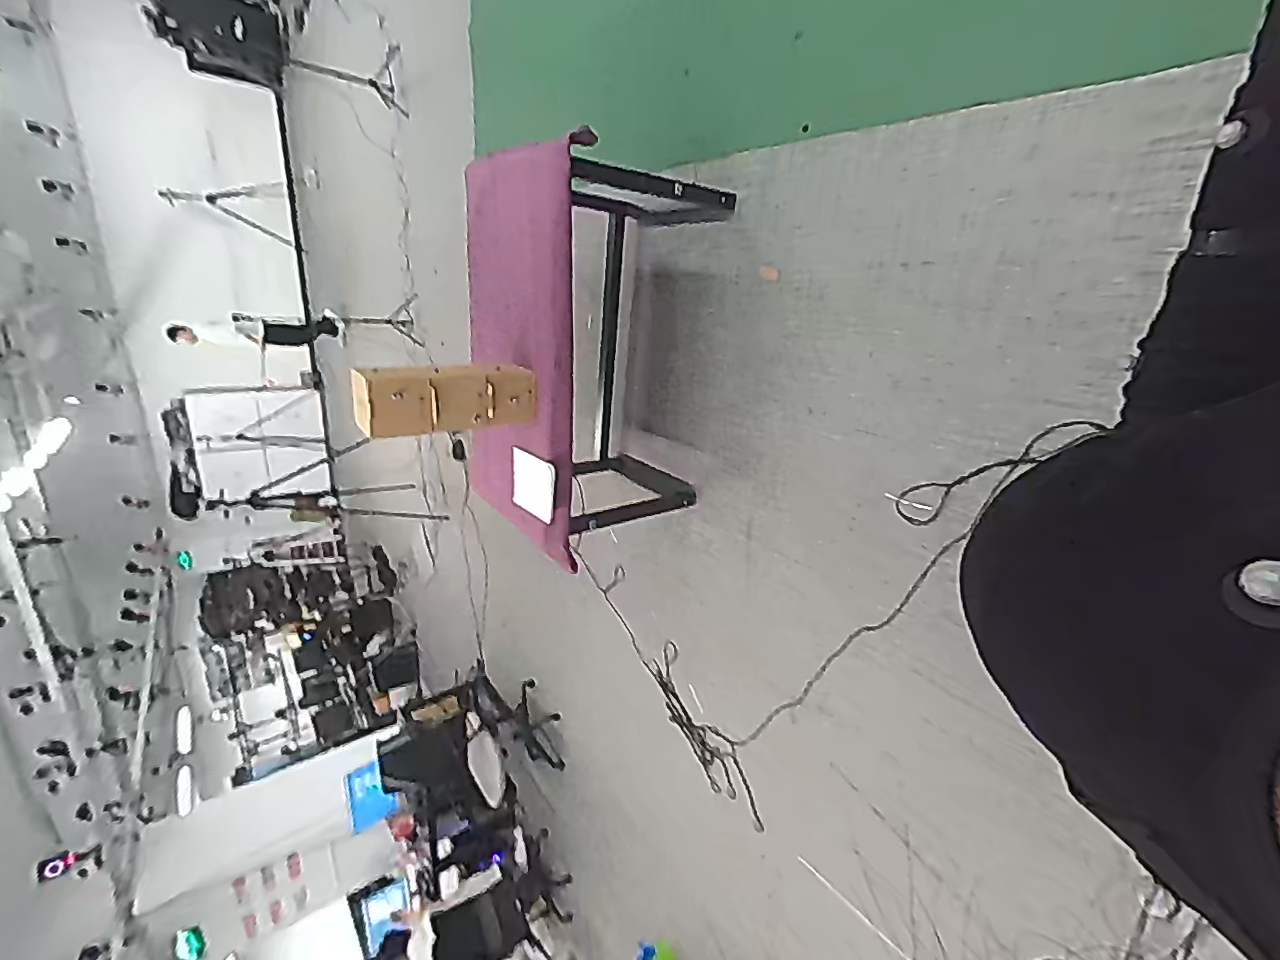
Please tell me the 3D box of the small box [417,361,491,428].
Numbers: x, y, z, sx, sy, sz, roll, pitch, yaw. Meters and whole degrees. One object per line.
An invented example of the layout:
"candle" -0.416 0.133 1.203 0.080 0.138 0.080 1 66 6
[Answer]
"small box" -0.561 -0.265 1.633 0.179 0.176 0.168 29 121 47

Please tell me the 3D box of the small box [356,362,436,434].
"small box" -0.686 -0.239 1.533 0.179 0.176 0.168 30 121 46

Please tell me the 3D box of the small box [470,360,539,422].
"small box" -0.435 -0.292 1.737 0.179 0.176 0.168 27 119 46
